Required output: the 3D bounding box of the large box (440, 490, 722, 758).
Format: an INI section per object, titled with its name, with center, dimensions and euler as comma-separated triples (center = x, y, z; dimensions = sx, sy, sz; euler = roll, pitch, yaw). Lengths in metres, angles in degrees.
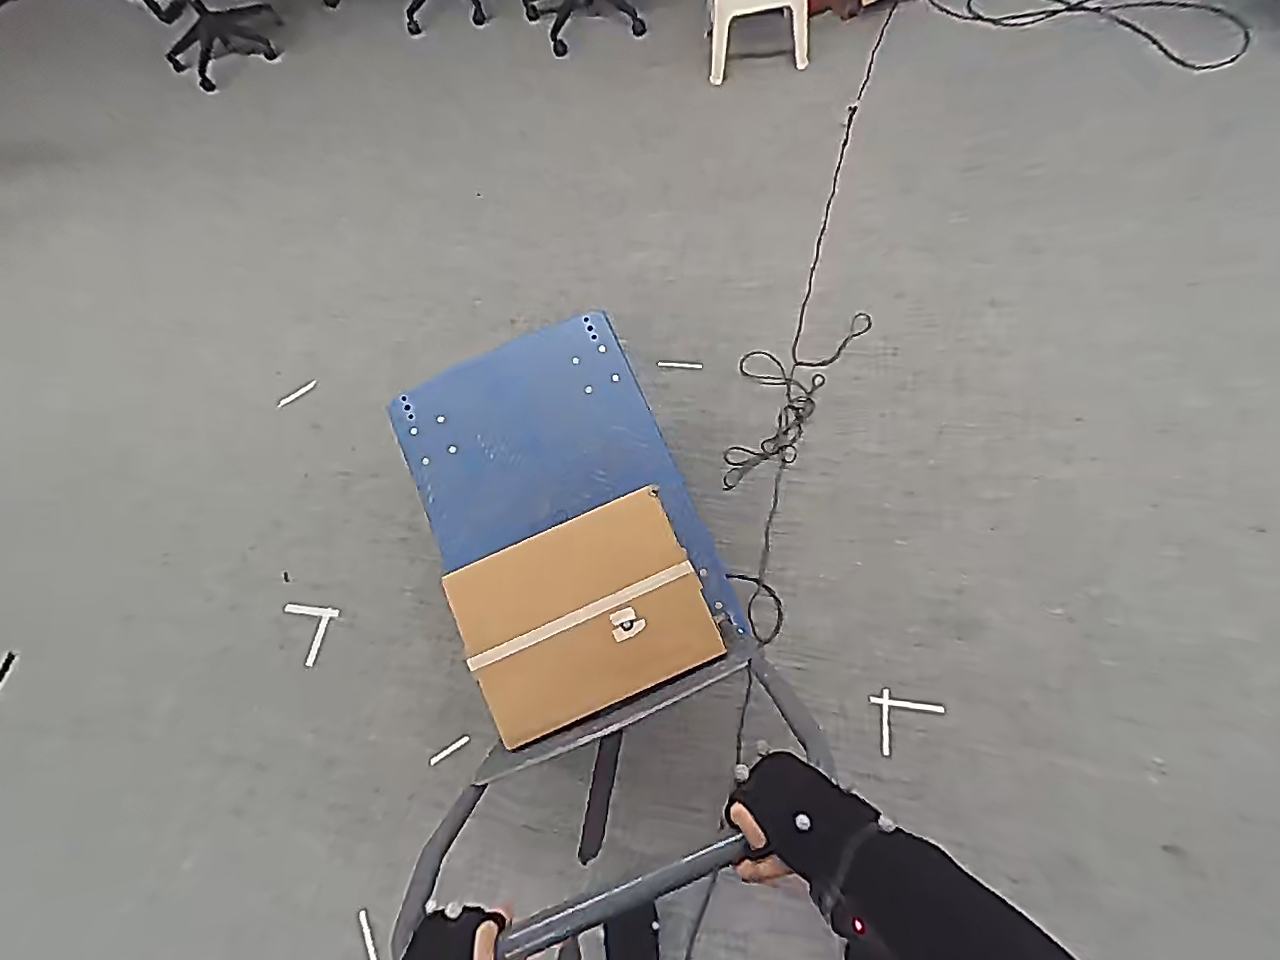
[large box]
center = -0.101, 0.260, 1.058
dimensions = 0.408, 0.320, 0.320
euler = -25, 82, -2
